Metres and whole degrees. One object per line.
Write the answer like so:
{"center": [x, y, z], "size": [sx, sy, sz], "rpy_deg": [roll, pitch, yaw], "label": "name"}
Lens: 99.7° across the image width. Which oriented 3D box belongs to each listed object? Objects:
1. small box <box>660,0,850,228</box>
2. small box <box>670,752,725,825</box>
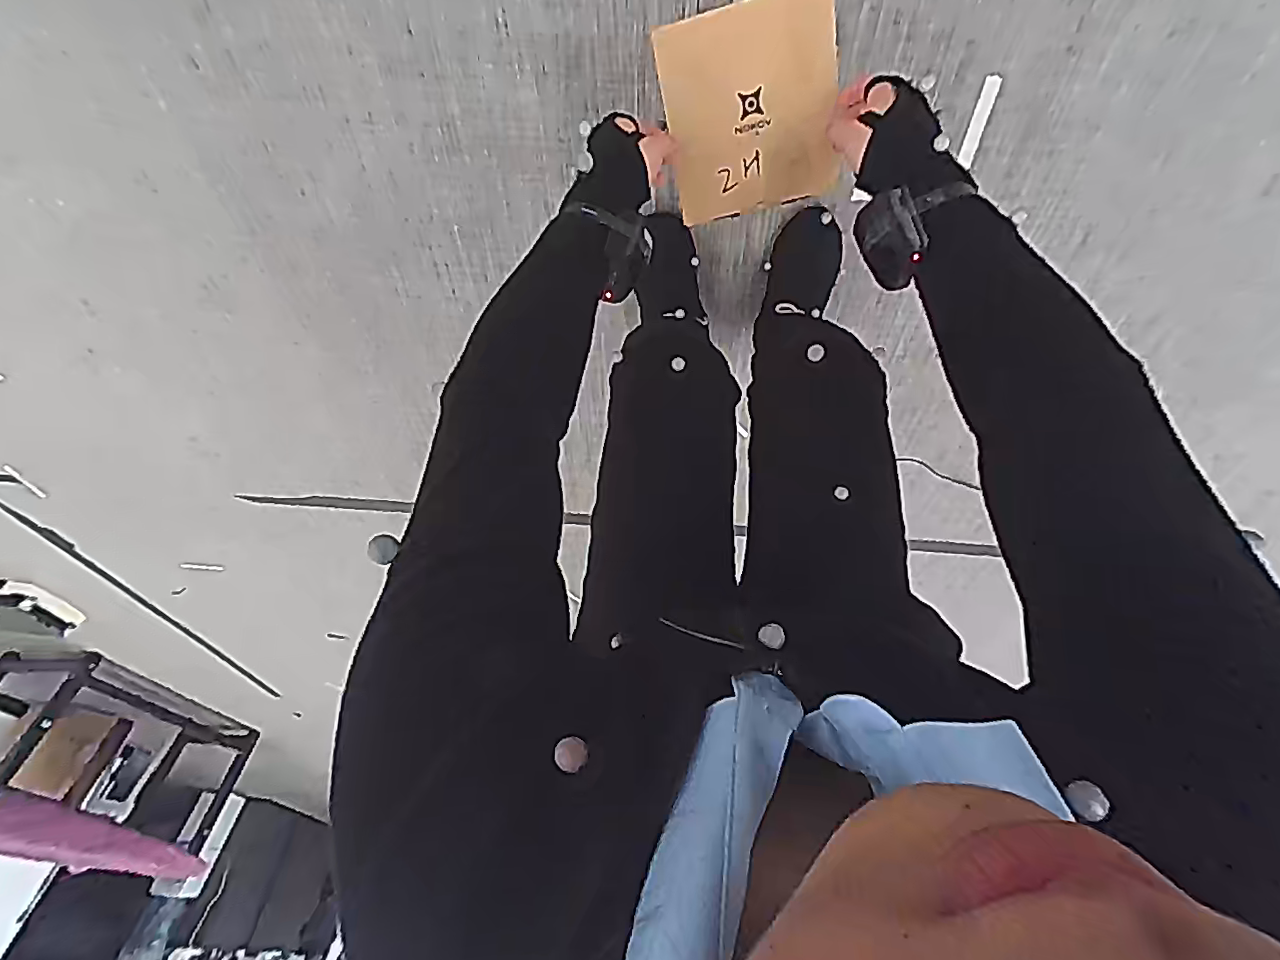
{"center": [0.120, -0.396, 0.583], "size": [0.168, 0.176, 0.179], "rpy_deg": [-9, 124, 12], "label": "small box"}
{"center": [0.188, 1.020, 1.786], "size": [0.168, 0.176, 0.179], "rpy_deg": [3, 137, 3], "label": "small box"}
